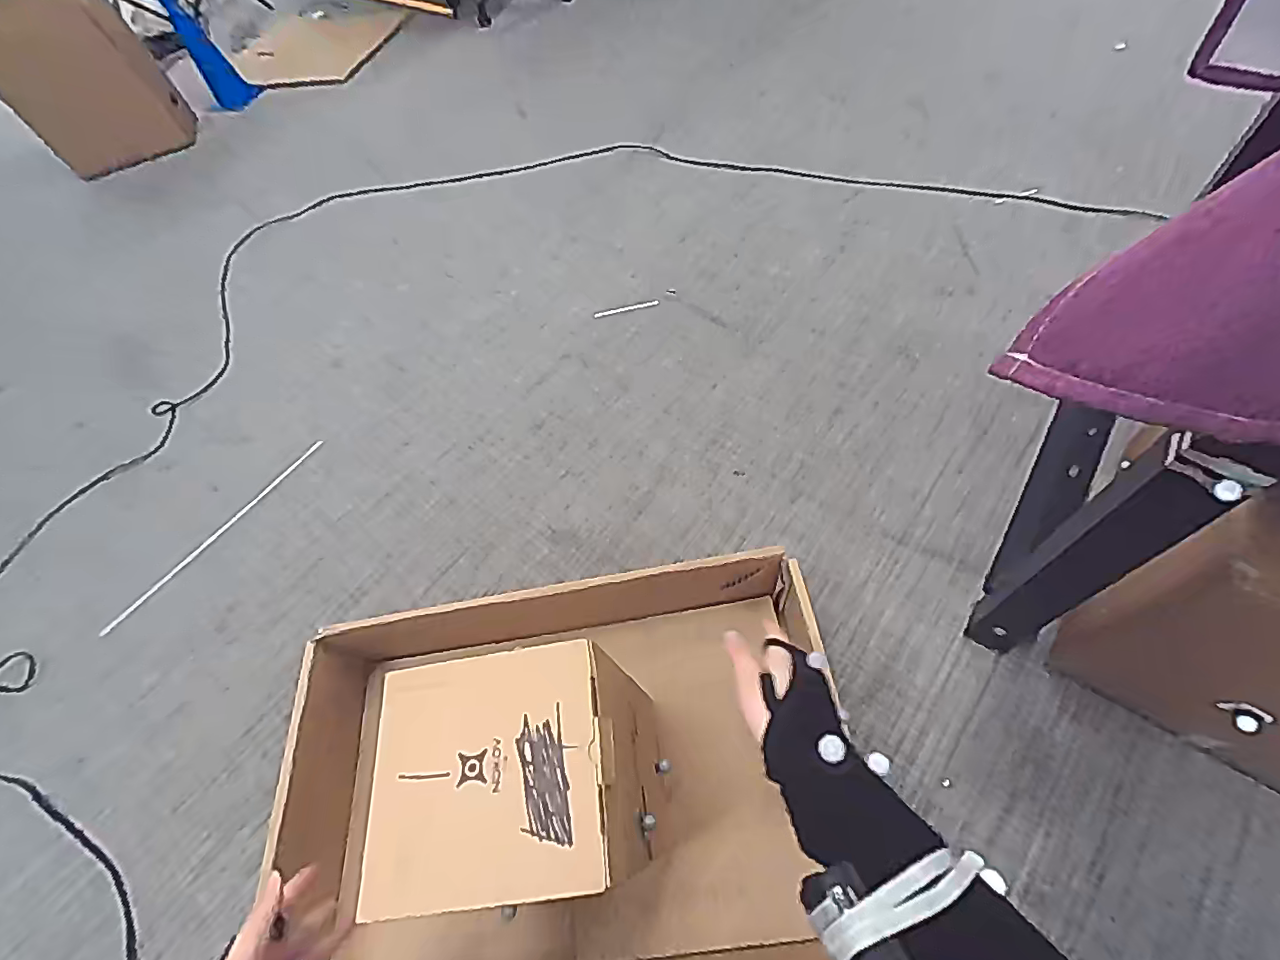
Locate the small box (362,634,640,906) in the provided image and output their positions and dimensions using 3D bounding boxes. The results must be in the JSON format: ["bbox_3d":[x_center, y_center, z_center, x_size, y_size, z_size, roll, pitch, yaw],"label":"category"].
[{"bbox_3d":[-0.100,0.244,0.468,0.179,0.176,0.168,-11,59,6],"label":"small box"}]

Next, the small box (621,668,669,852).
[{"bbox_3d":[-0.073,0.323,0.609,0.179,0.176,0.168,-11,60,4],"label":"small box"}]
